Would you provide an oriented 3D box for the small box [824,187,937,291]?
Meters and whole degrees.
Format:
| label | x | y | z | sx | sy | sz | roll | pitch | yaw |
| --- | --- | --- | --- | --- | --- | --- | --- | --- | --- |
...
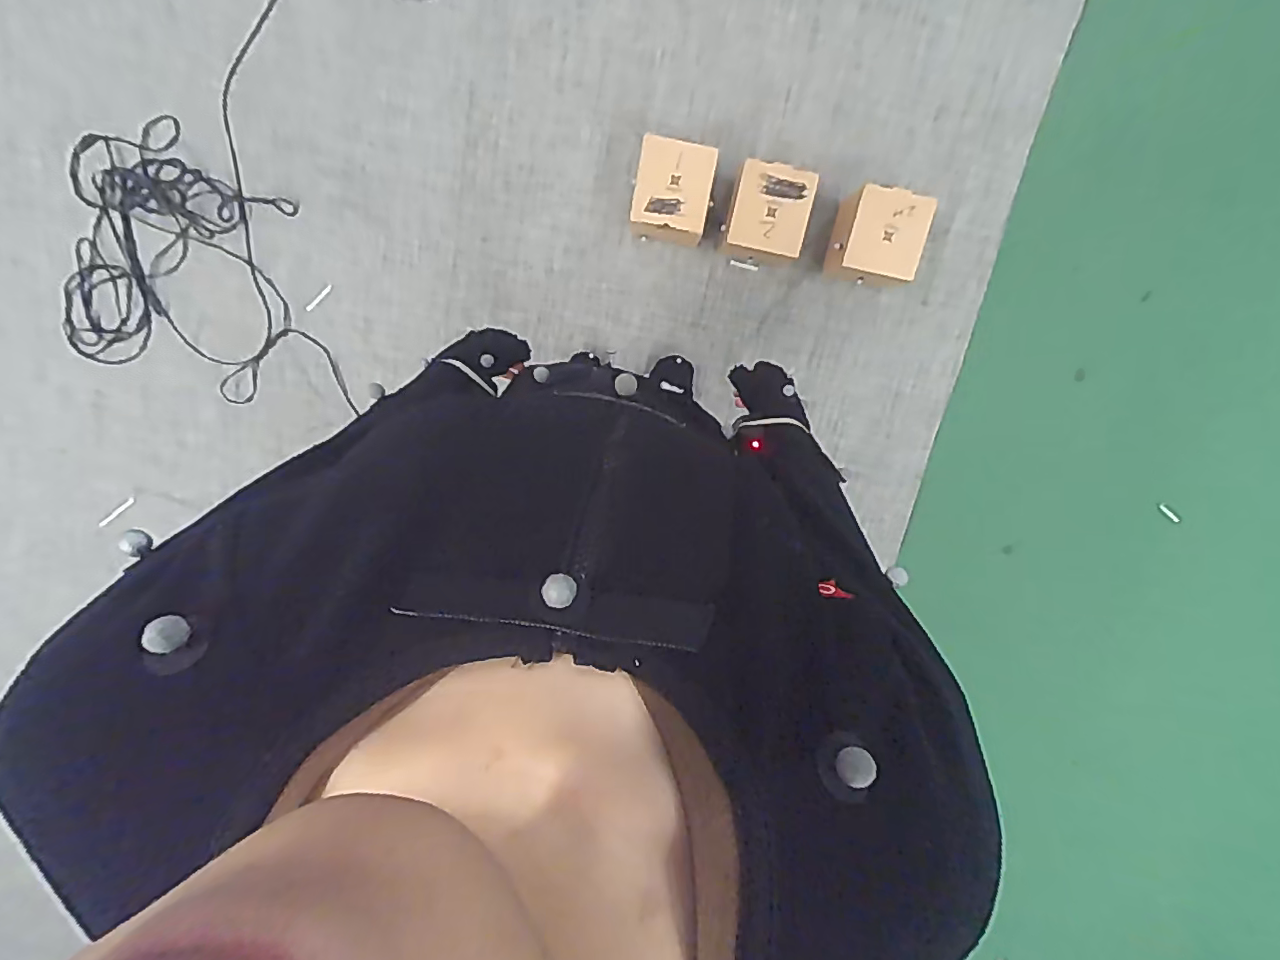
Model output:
| label | x | y | z | sx | sy | sz | roll | pitch | yaw |
| --- | --- | --- | --- | --- | --- | --- | --- | --- | --- |
| small box | 0.547 | -0.548 | 1.258 | 0.168 | 0.176 | 0.179 | 12 | 103 | -2 |

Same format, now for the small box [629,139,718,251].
| label | x | y | z | sx | sy | sz | roll | pitch | yaw |
| --- | --- | --- | --- | --- | --- | --- | --- | --- | --- |
| small box | 0.076 | -0.644 | 1.245 | 0.168 | 0.176 | 0.179 | 11 | 102 | -1 |
